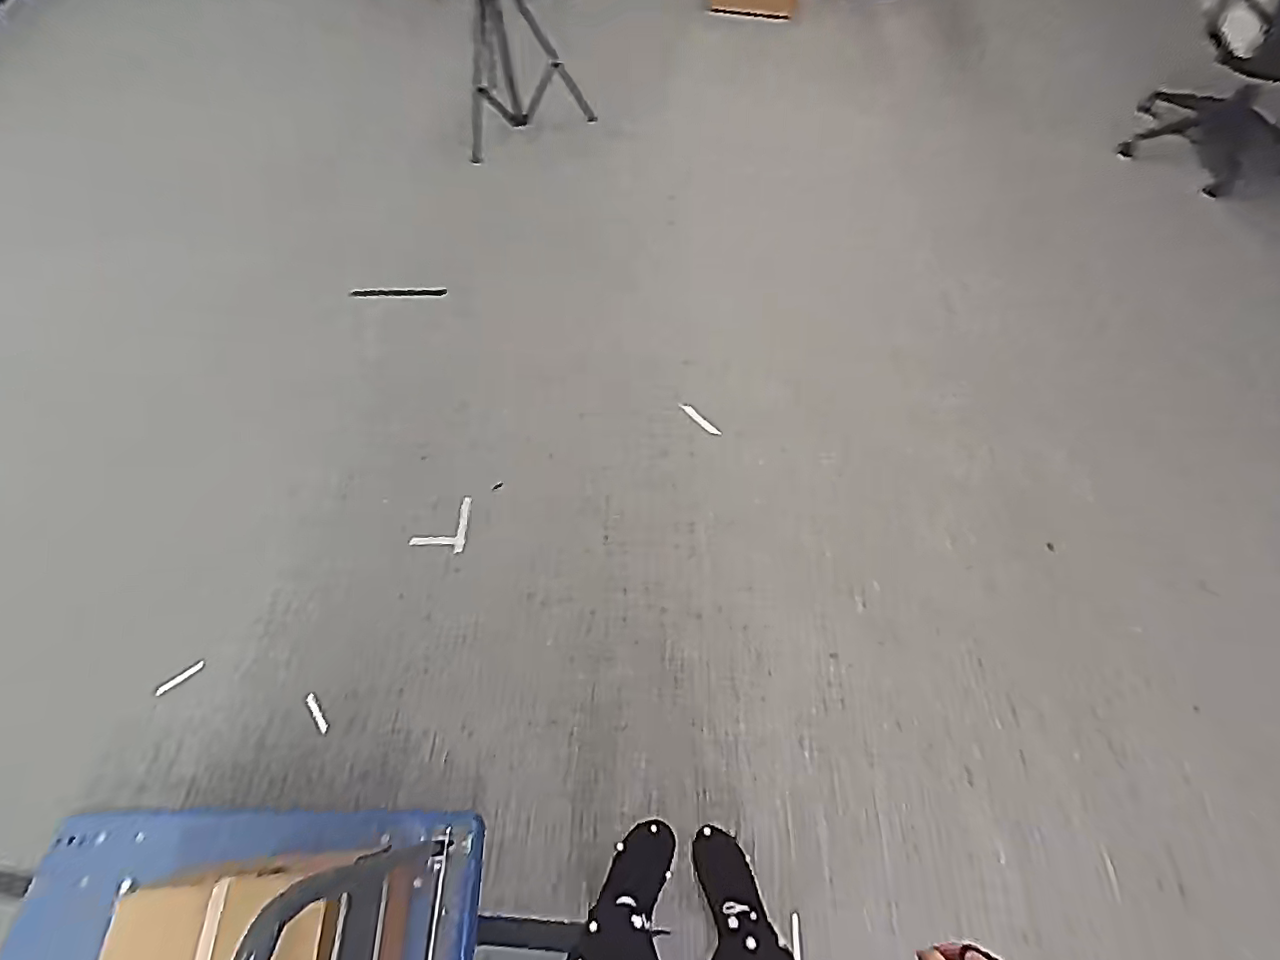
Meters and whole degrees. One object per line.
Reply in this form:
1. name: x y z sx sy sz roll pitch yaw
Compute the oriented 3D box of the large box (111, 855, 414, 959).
1. large box: -0.580 0.845 0.833 0.320 0.320 0.408 -4 60 -1
